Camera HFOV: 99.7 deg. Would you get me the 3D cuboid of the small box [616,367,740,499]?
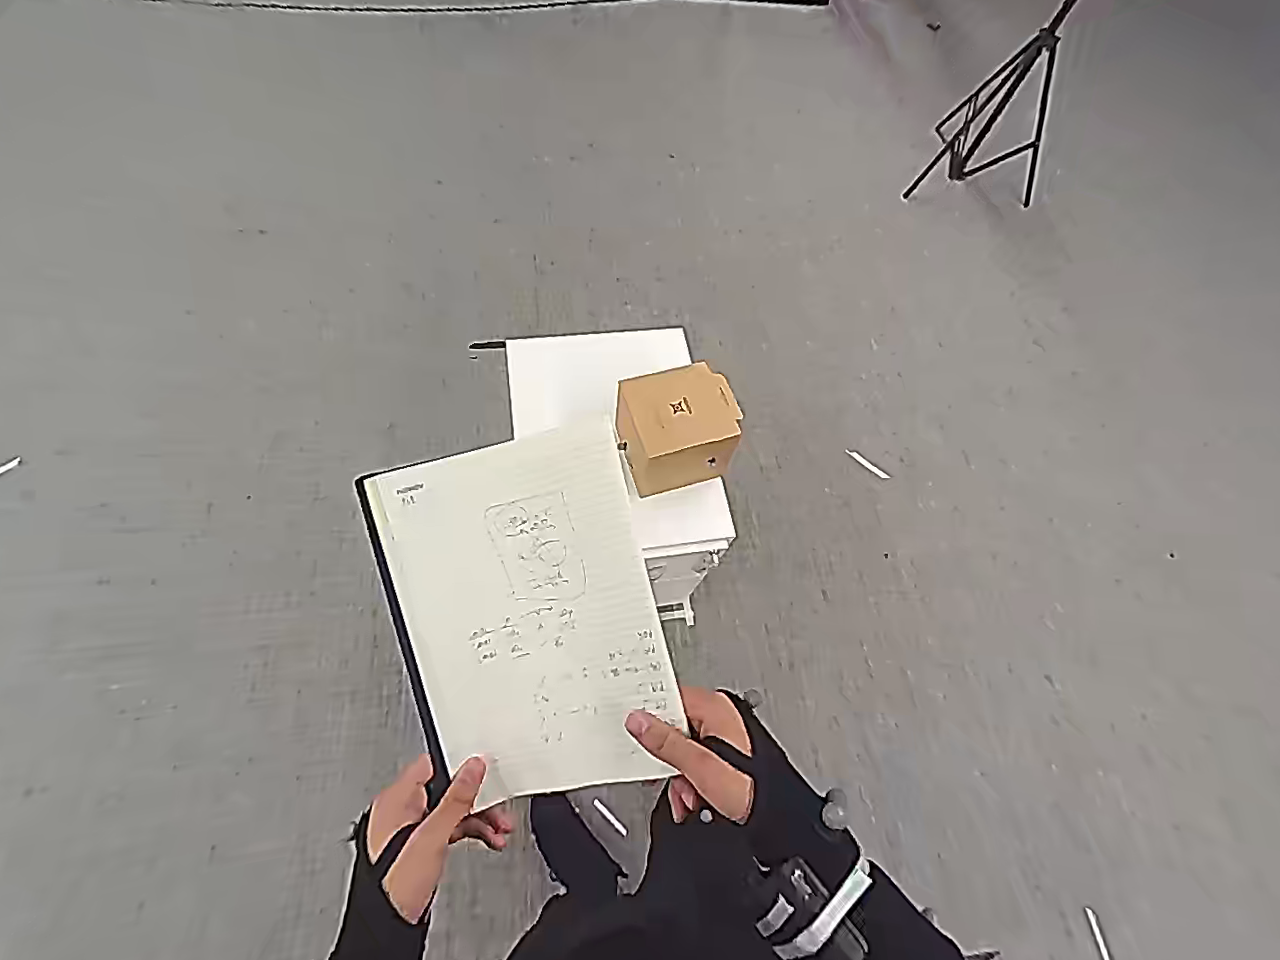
[{"bbox_3d":[0.062,-0.085,1.019,0.179,0.176,0.168,-14,66,-12],"label":"small box"}]
